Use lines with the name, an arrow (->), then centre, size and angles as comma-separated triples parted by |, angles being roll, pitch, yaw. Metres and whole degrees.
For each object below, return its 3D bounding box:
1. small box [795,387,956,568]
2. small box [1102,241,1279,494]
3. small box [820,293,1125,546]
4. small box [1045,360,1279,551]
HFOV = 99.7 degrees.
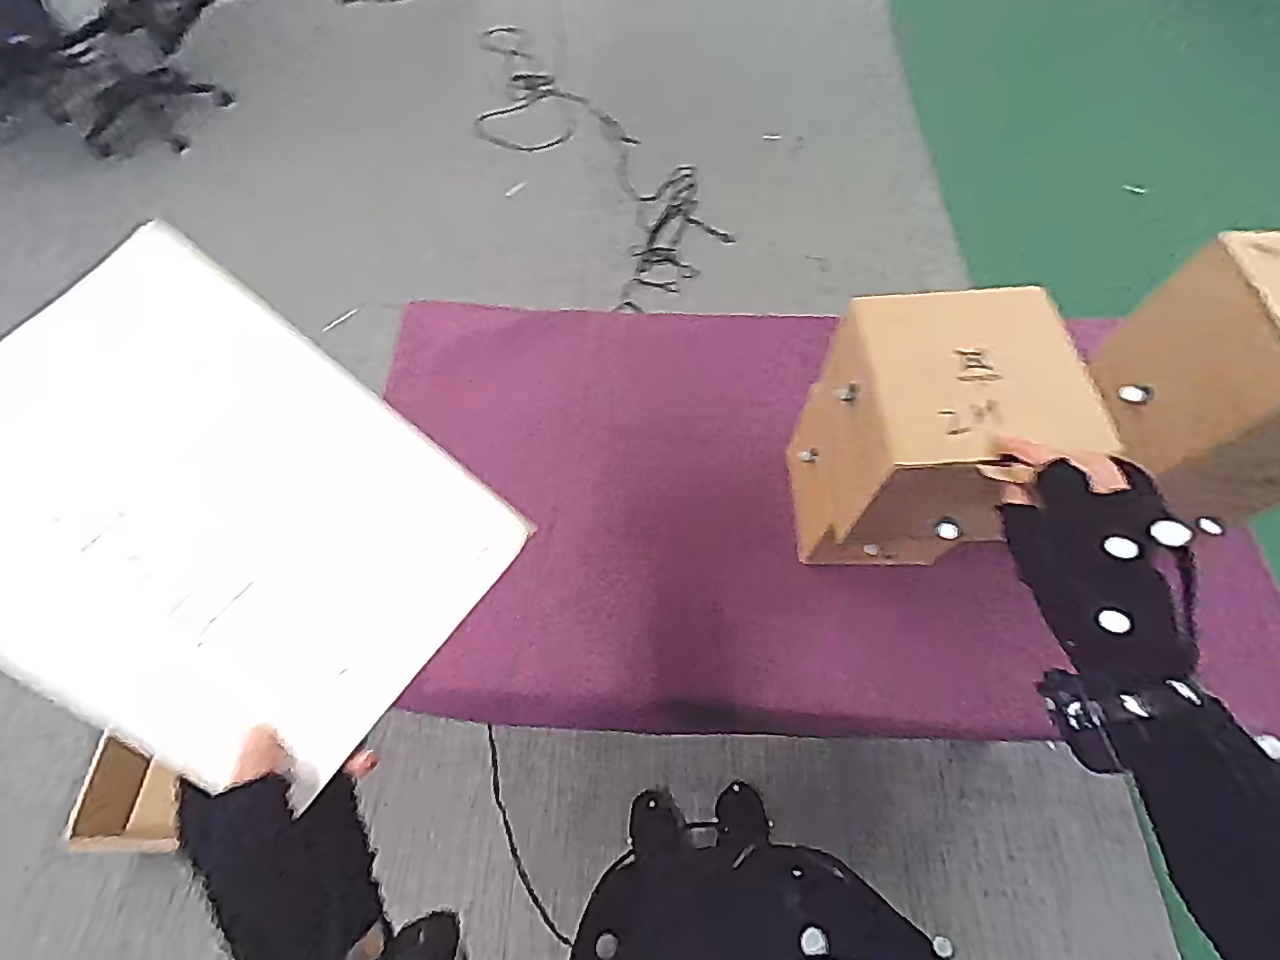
small box -> 0.294, 0.003, 0.667 | 0.168, 0.176, 0.179 | 0, 62, 4
small box -> 0.598, -0.096, 0.510 | 0.168, 0.176, 0.179 | 3, 64, 4
small box -> 0.279, -0.050, 0.509 | 0.168, 0.176, 0.179 | -1, 62, 3
small box -> 0.614, -0.023, 0.656 | 0.168, 0.176, 0.179 | 3, 63, 5
